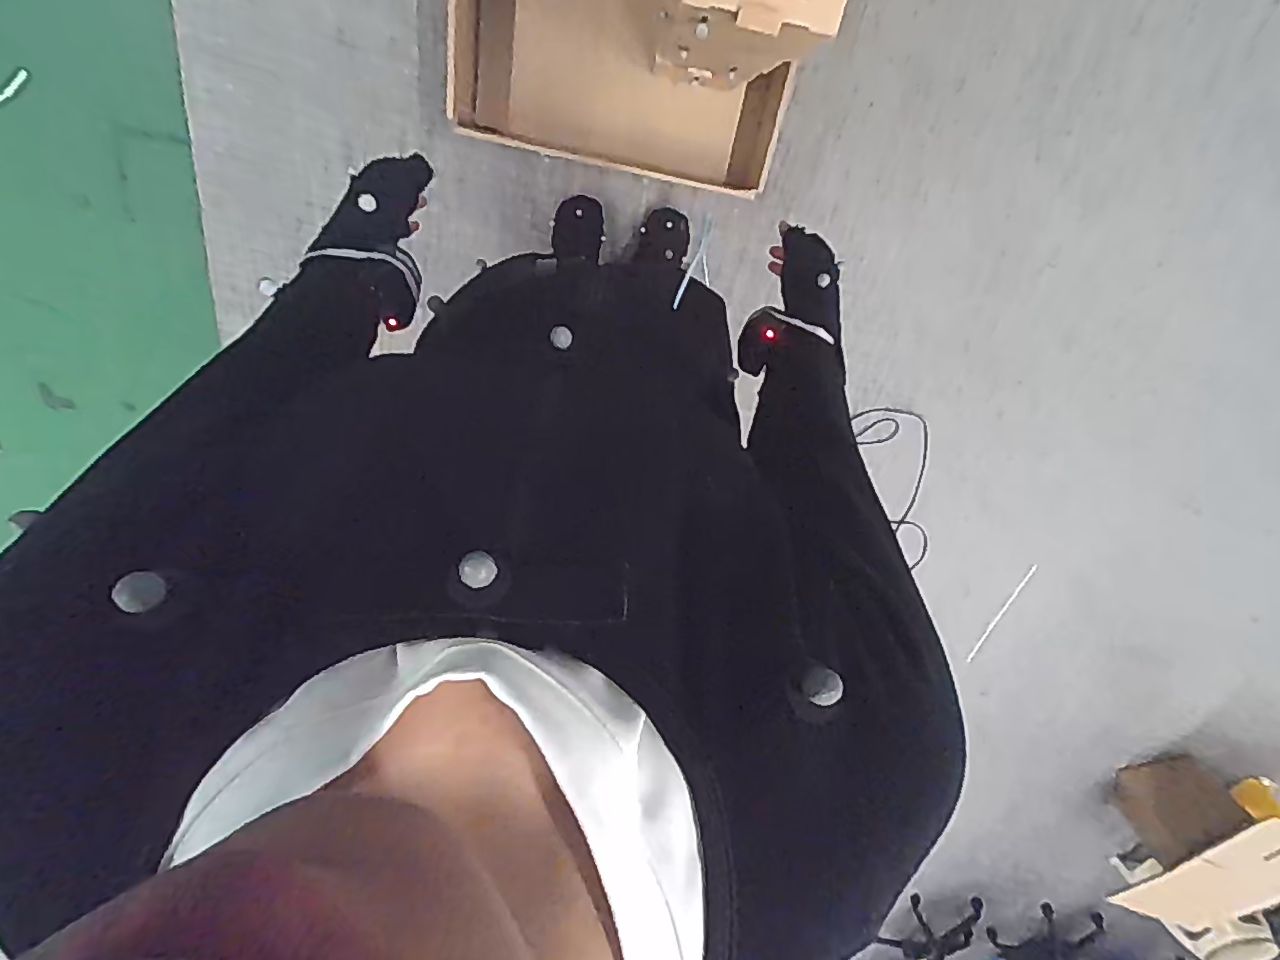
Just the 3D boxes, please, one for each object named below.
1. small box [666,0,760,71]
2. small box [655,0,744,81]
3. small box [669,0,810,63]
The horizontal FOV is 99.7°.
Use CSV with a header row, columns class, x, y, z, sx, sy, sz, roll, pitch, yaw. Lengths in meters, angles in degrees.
class,x,y,z,sx,sy,sz,roll,pitch,yaw
small box,0.137,-0.751,0.820,0.168,0.176,0.179,10,120,-7
small box,0.120,-0.845,0.976,0.168,0.176,0.179,7,120,-3
small box,0.136,-0.671,0.697,0.168,0.176,0.179,10,120,-8
